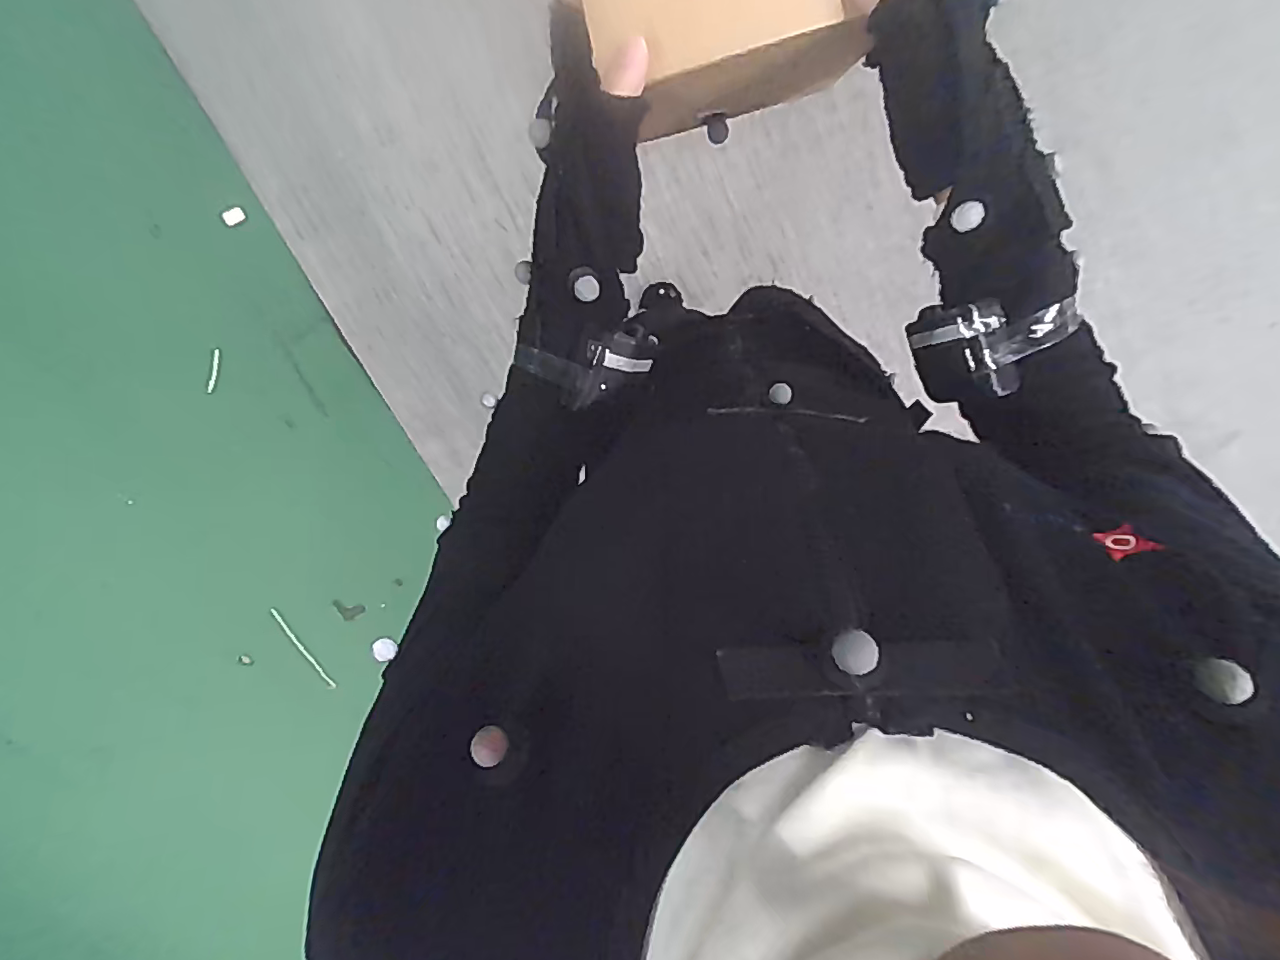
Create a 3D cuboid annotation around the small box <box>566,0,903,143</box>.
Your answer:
[{"bbox_3d":[0.035,-0.326,0.314,0.168,0.176,0.179,-11,112,8],"label":"small box"}]
